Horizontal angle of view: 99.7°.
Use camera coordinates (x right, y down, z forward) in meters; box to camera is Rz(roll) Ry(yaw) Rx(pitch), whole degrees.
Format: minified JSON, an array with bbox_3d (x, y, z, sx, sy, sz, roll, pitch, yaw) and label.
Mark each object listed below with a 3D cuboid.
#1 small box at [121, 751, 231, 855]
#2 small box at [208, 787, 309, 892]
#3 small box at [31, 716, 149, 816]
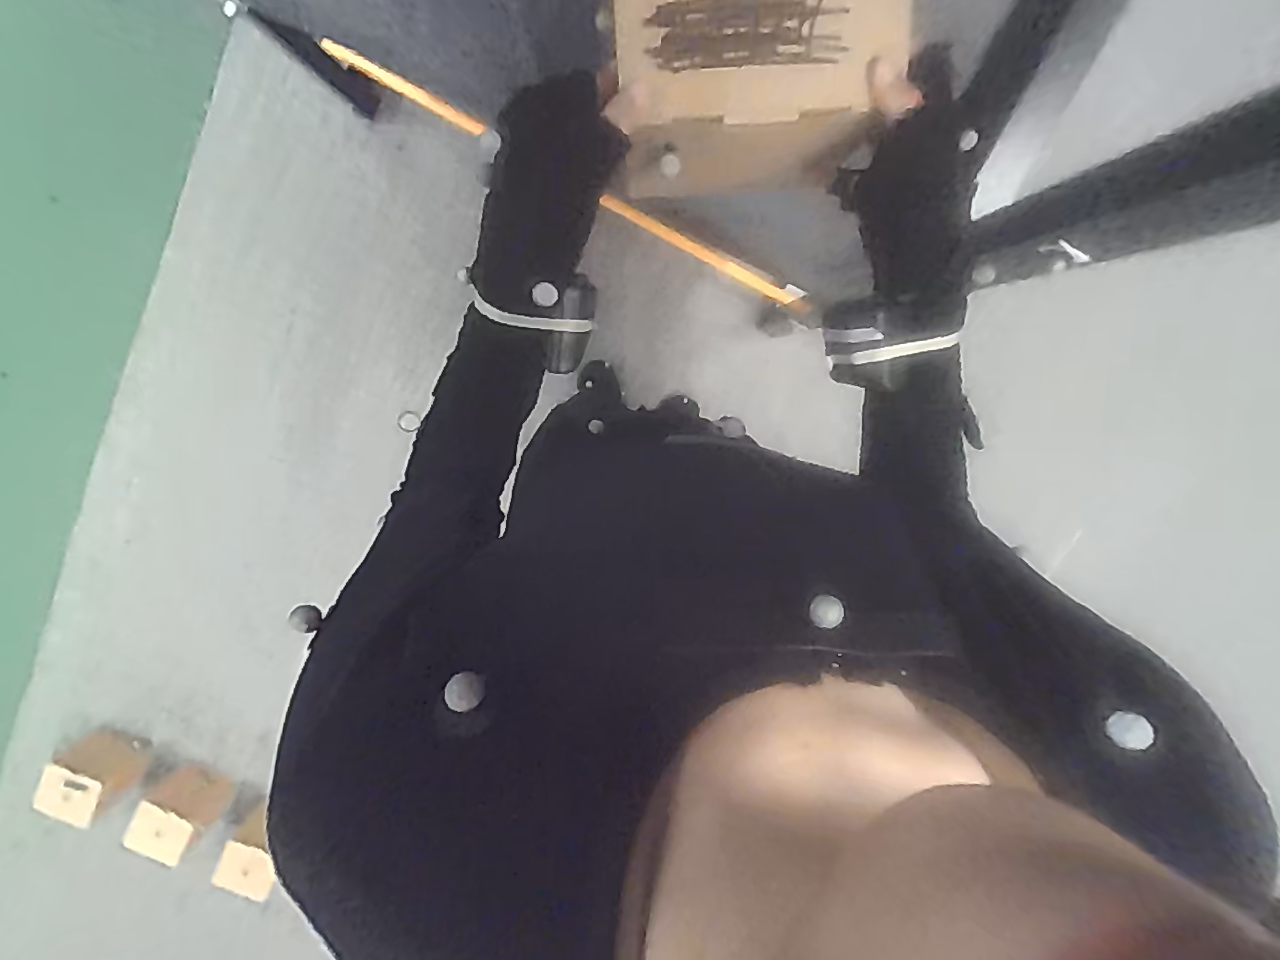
[{"bbox_3d":[-1.398,0.974,1.641,0.168,0.176,0.179,30,100,-5],"label":"small box"},{"bbox_3d":[-1.162,1.099,1.661,0.168,0.176,0.179,27,101,-6],"label":"small box"},{"bbox_3d":[-1.635,0.847,1.618,0.168,0.176,0.179,26,101,-4],"label":"small box"}]
